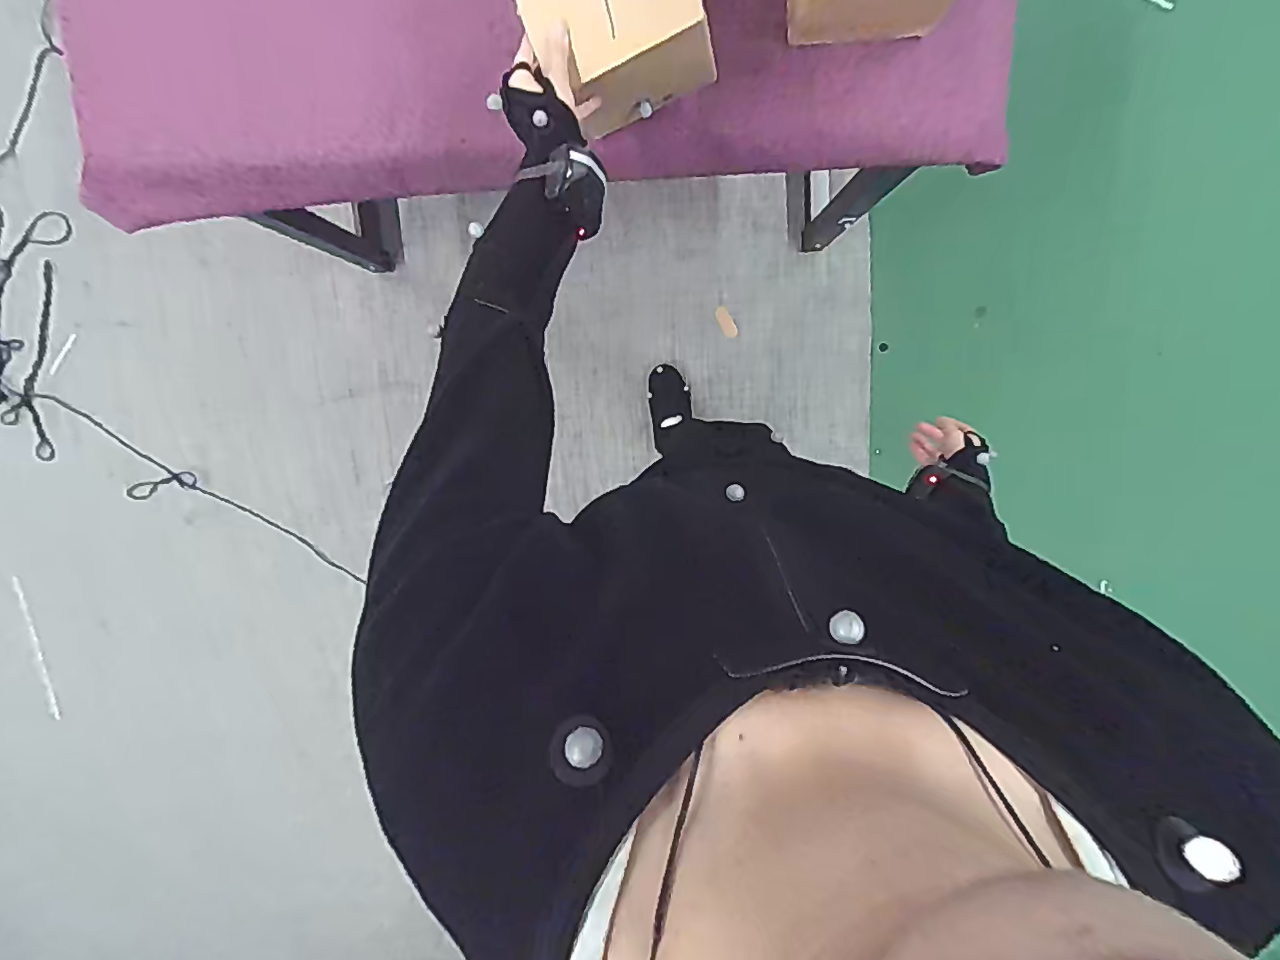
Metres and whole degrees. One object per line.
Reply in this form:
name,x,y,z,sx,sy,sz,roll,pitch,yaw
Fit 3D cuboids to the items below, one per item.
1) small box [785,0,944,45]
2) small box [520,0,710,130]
small box,0.260,-0.611,0.583,0.179,0.176,0.168,-1,98,1
small box,-0.029,-0.509,0.566,0.168,0.176,0.179,-15,106,15
